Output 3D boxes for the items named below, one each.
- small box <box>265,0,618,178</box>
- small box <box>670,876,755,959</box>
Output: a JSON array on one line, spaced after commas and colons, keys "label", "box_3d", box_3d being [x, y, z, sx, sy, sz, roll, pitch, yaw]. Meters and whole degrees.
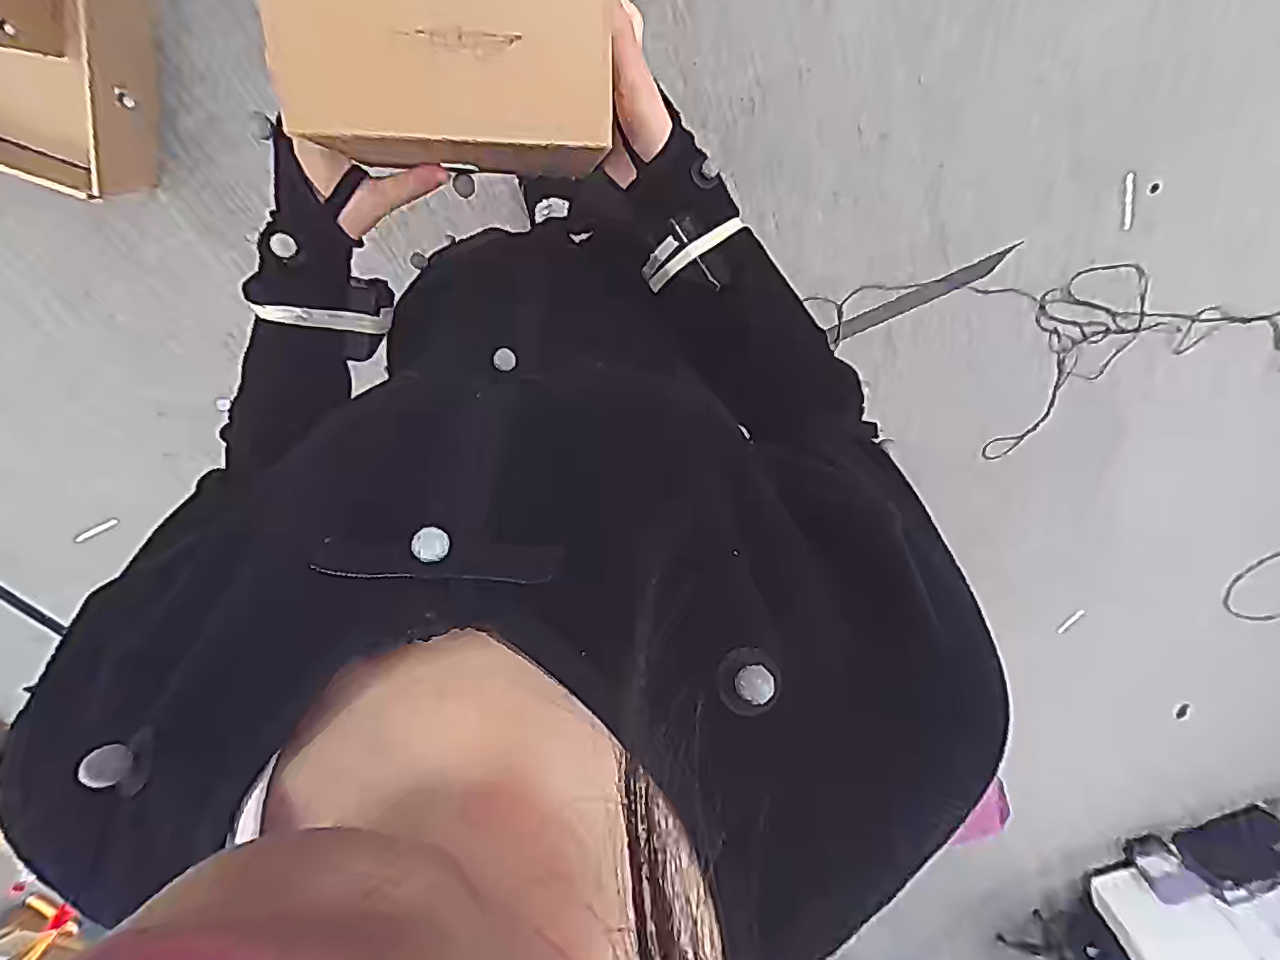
[{"label": "small box", "box_3d": [-0.105, -0.291, 0.319, 0.168, 0.176, 0.179, -3, 114, -10]}, {"label": "small box", "box_3d": [0.195, 1.204, 1.450, 0.168, 0.176, 0.179, -24, 120, 7]}]
